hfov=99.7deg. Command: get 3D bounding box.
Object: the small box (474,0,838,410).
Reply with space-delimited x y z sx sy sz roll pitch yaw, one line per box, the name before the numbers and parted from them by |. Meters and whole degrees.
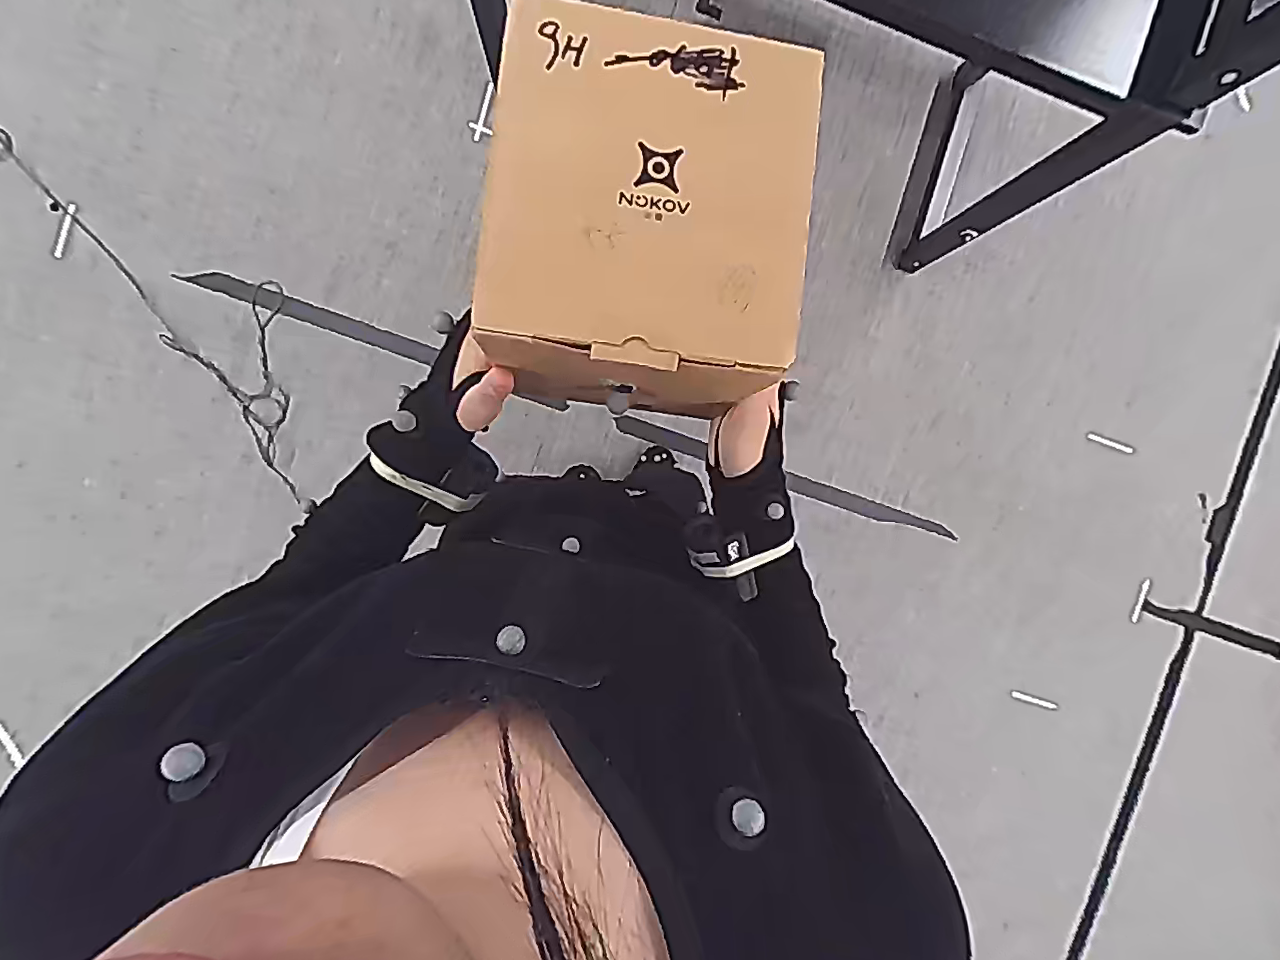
small box | 0.002 -0.147 0.346 0.168 0.176 0.179 7 88 -7
